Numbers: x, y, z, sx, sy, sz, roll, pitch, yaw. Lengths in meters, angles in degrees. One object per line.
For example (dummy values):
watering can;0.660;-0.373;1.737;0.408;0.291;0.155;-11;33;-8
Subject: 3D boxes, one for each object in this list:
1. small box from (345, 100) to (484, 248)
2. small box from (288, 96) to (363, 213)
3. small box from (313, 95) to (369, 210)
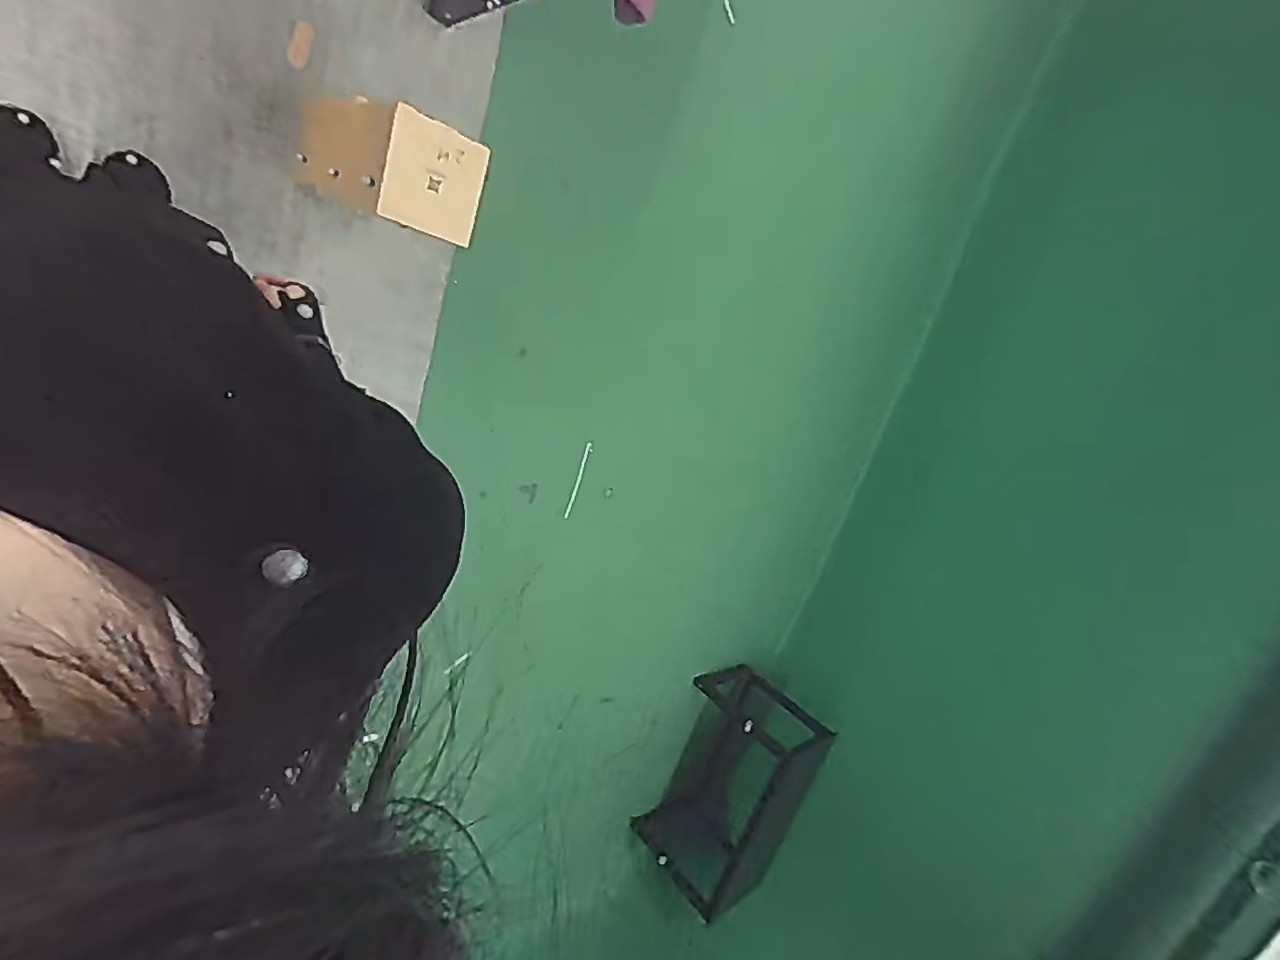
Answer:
small box;-0.410;-0.543;0.971;0.168;0.176;0.179;3;112;-47
small box;-0.633;-0.685;1.164;0.179;0.176;0.168;6;109;-47
small box;-0.524;-0.619;1.064;0.168;0.176;0.179;2;113;-46
